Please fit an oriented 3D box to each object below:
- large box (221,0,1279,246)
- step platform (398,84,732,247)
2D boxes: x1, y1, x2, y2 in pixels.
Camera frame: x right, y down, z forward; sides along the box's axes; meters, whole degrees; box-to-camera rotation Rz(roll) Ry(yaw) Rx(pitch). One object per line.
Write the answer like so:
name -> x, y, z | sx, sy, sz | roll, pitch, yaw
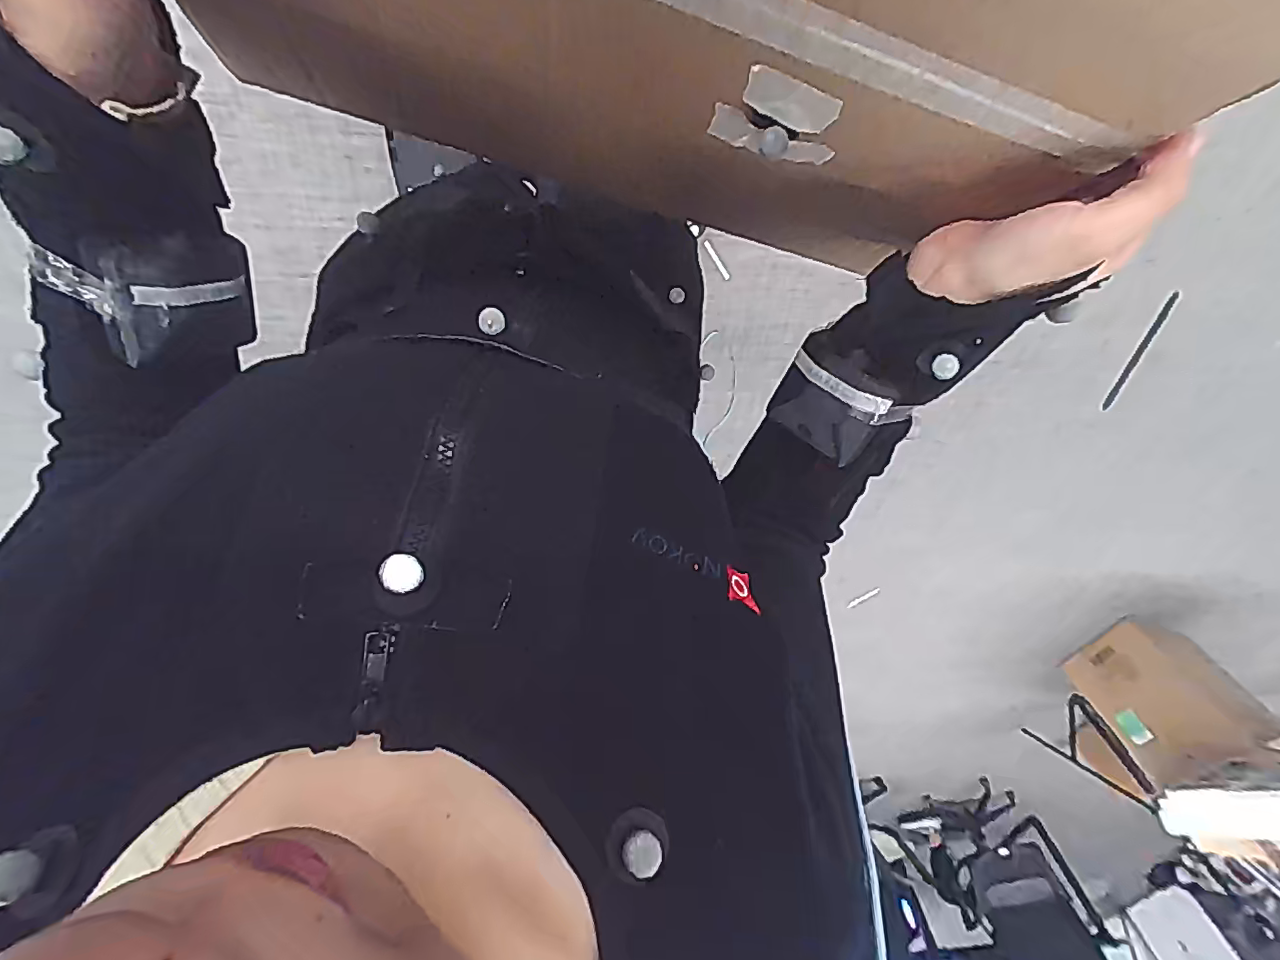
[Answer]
large box -> 0.050, -0.329, 0.160 | 0.408, 0.320, 0.320 | 11, 89, -11
step platform -> -0.137, -0.701, 1.139 | 0.684, 0.204, 0.286 | 5, 126, -11
